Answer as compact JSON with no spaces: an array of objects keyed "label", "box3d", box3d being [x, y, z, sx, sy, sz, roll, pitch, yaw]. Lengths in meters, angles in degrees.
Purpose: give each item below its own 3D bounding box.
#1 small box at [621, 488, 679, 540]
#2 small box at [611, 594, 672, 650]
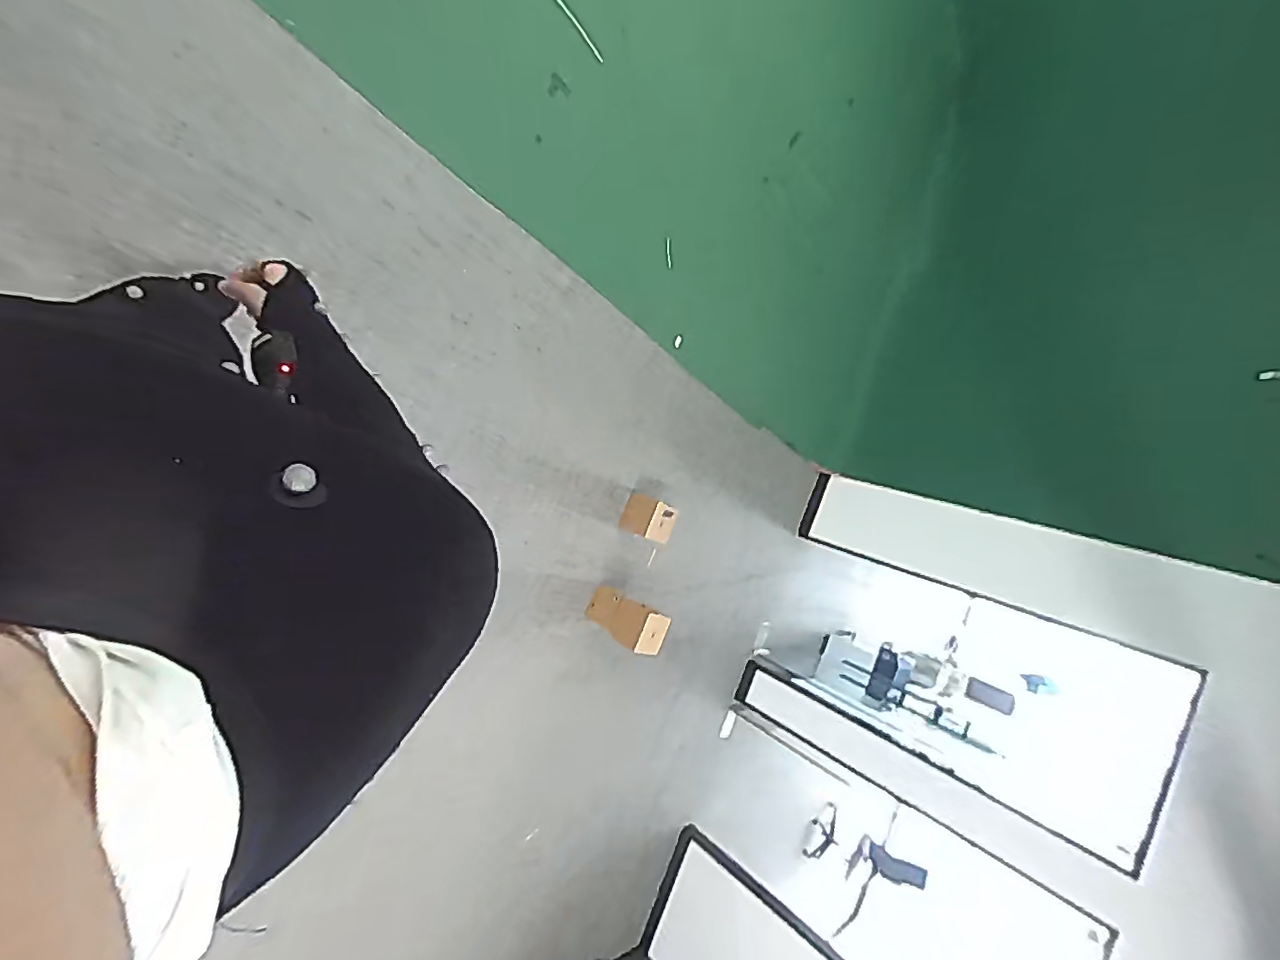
[{"label":"small box","box3d":[0.042,0.151,2.459,0.168,0.176,0.179,25,87,-48]},{"label":"small box","box3d":[0.003,0.610,2.337,0.168,0.176,0.179,27,84,-48]}]
